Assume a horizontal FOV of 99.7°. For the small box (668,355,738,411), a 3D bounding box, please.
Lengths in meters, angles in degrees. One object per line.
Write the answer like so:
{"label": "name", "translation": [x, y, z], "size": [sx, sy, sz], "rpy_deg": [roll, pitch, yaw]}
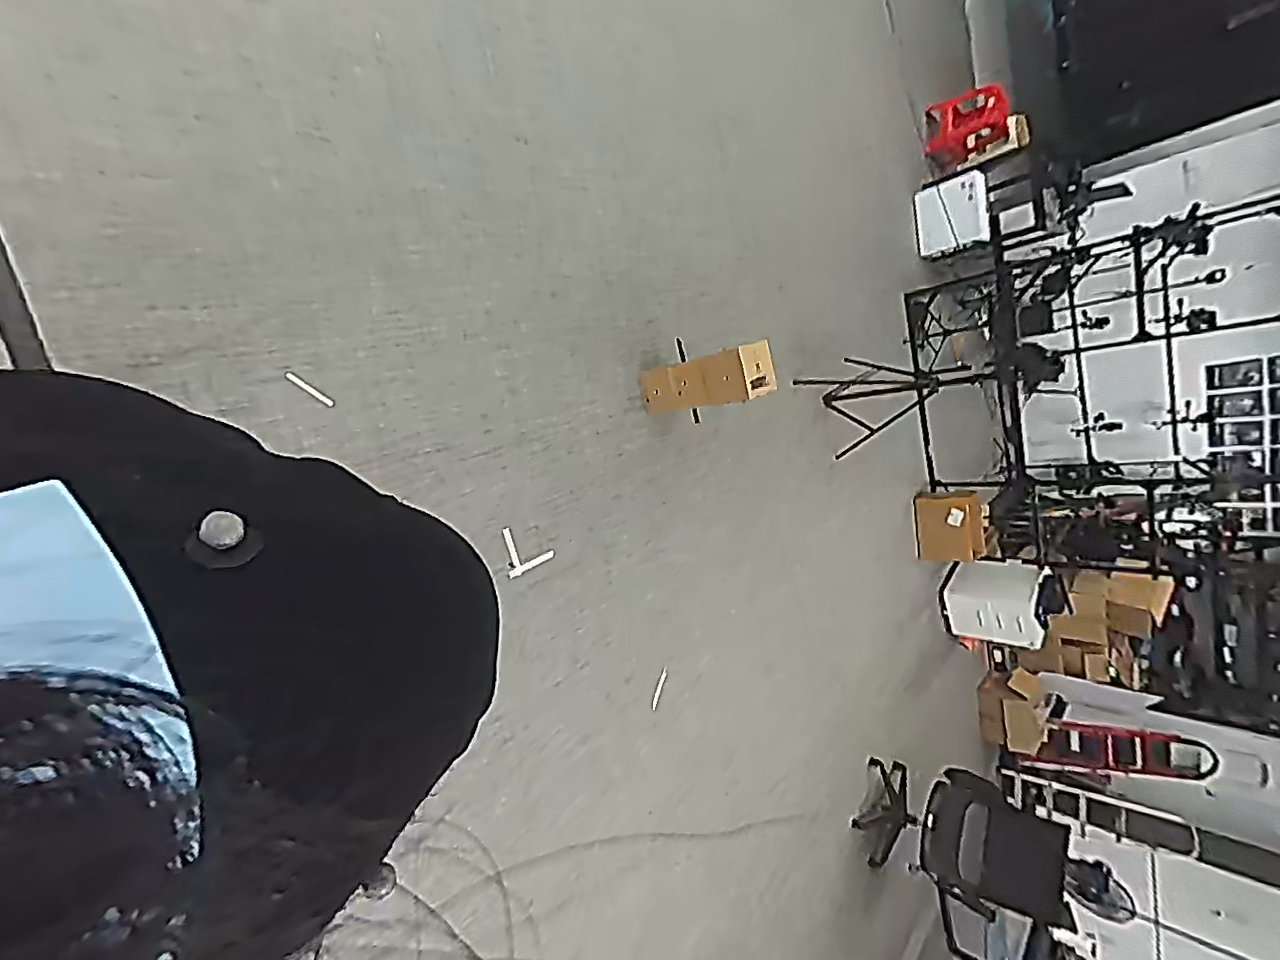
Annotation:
{"label": "small box", "translation": [0.230, -0.354, 1.979], "size": [0.179, 0.176, 0.168], "rpy_deg": [-22, 103, -40]}

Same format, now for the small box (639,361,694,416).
{"label": "small box", "translation": [0.112, -0.351, 2.092], "size": [0.179, 0.176, 0.168], "rpy_deg": [-25, 106, -41]}
